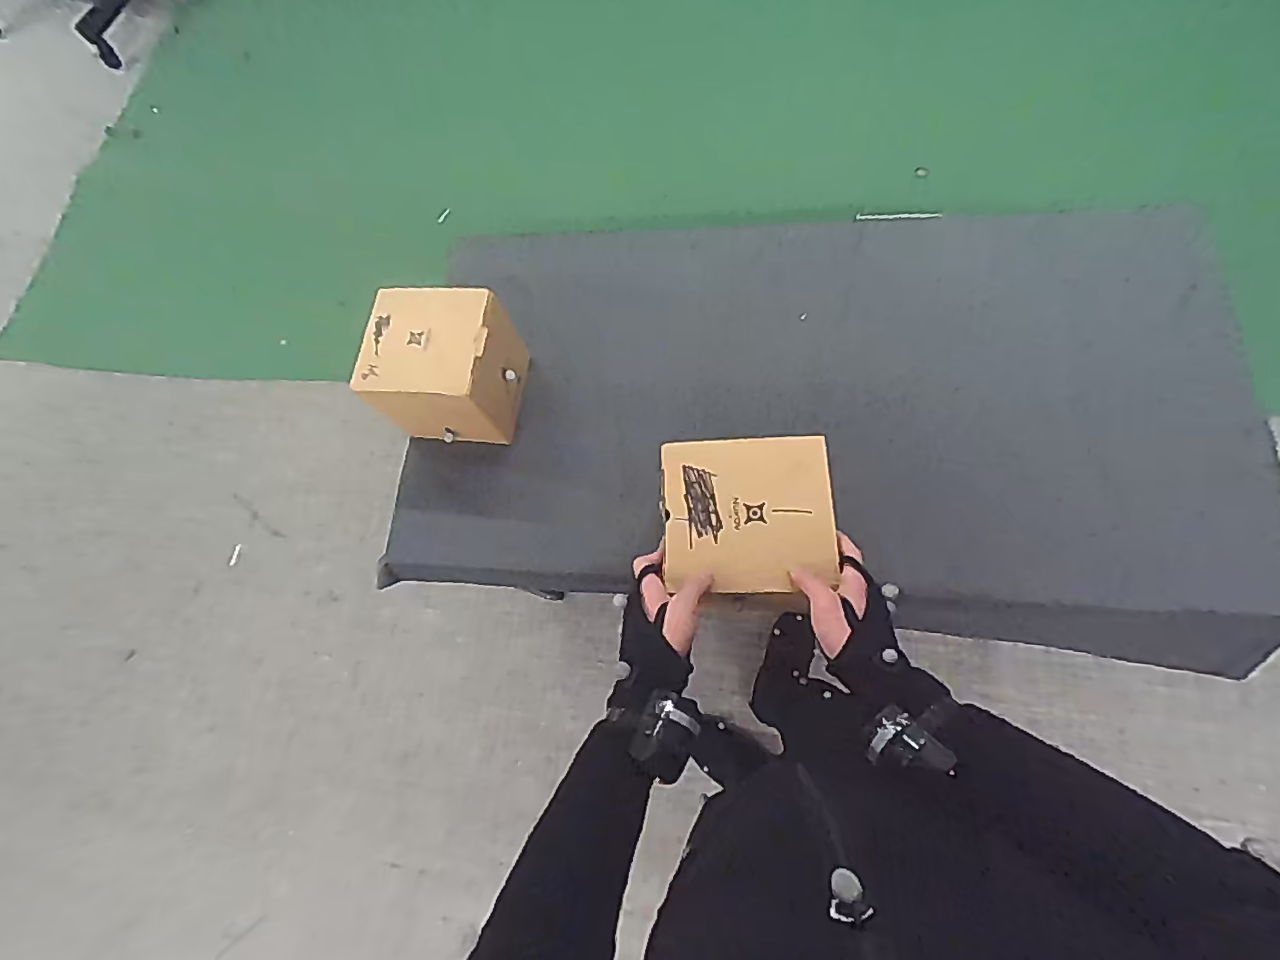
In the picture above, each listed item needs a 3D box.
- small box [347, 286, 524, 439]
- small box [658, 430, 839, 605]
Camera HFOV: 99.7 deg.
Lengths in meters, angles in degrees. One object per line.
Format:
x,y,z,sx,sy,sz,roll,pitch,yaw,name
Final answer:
-0.291,-0.168,0.812,0.179,0.176,0.168,4,73,9,small box
0.116,0.053,0.626,0.179,0.176,0.168,-2,71,6,small box
